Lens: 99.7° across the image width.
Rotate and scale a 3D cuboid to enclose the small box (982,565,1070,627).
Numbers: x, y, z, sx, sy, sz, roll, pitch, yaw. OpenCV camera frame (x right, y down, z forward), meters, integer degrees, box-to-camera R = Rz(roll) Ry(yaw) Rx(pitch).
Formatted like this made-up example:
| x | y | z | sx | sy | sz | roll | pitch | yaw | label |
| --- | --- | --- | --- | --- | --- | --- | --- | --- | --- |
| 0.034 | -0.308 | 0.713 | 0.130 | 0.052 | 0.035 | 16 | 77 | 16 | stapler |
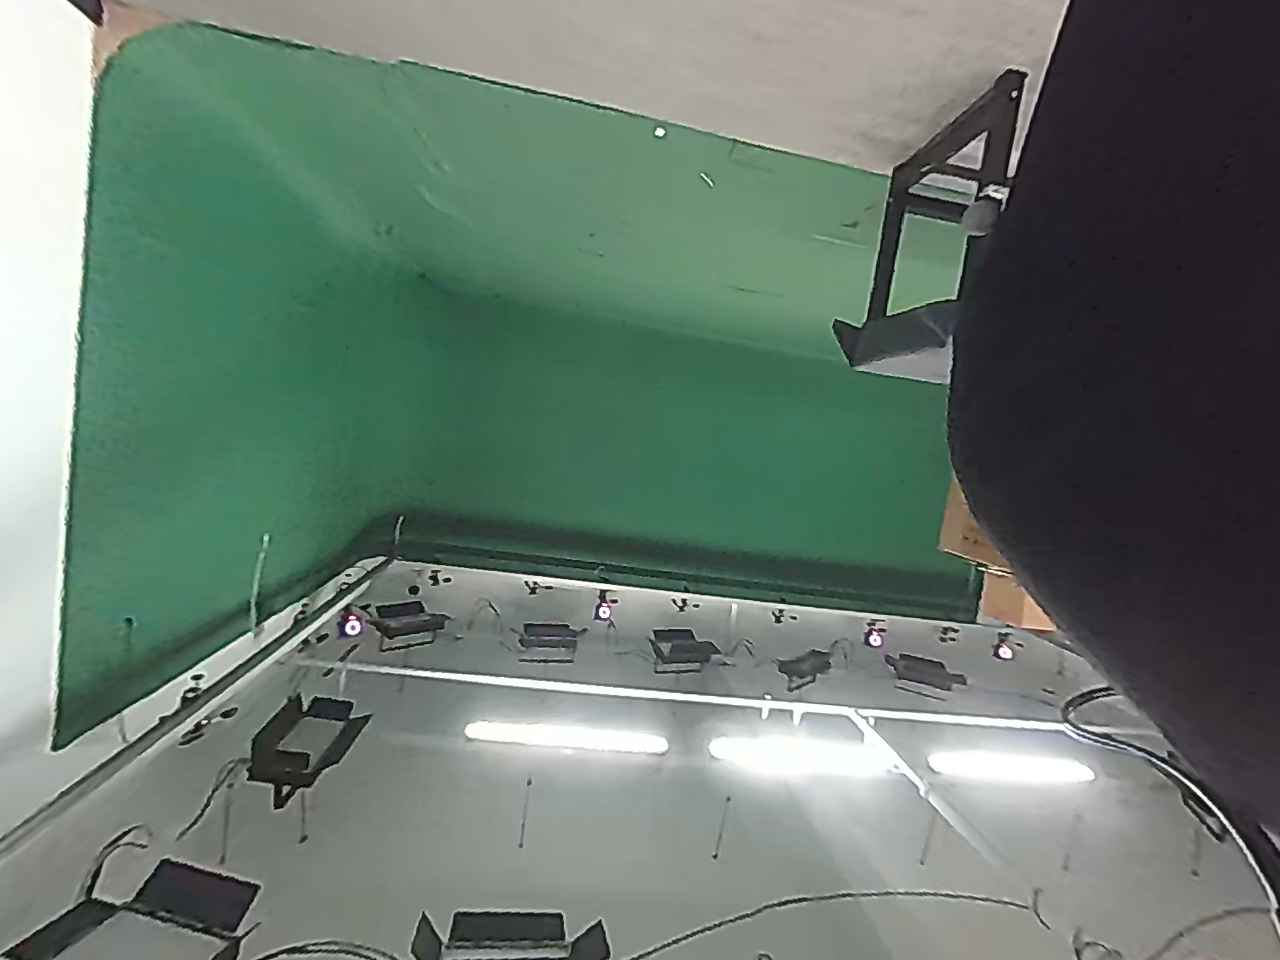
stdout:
| x | y | z | sx | sy | sz | roll | pitch | yaw | label |
| --- | --- | --- | --- | --- | --- | --- | --- | --- | --- |
| 1.298 | 0.385 | 1.820 | 0.179 | 0.176 | 0.168 | 7 | 180 | -10 | small box |
